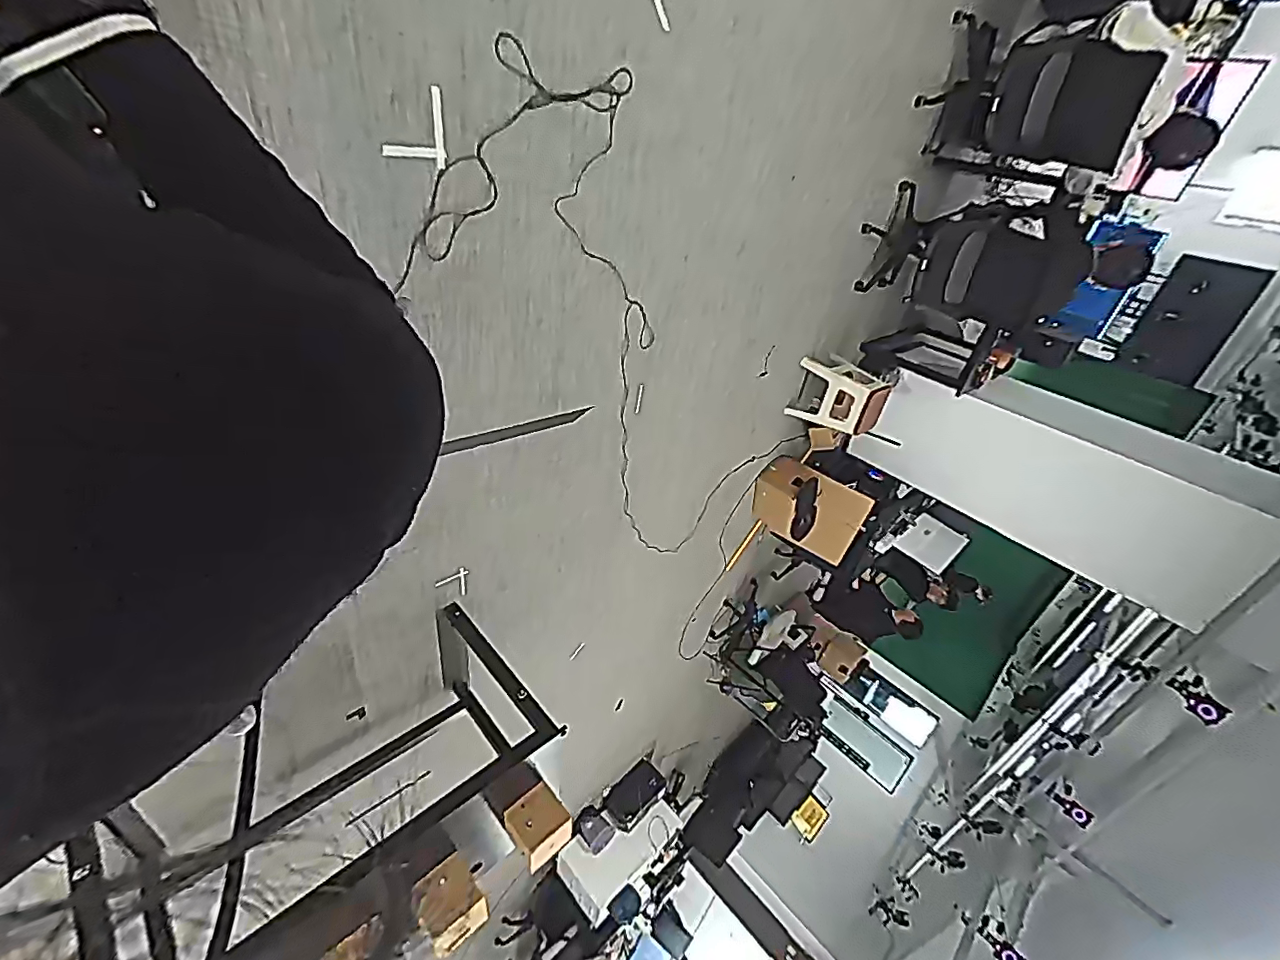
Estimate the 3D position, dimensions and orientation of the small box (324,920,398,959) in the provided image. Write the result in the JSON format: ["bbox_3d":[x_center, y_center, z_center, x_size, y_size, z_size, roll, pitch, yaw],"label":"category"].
[{"bbox_3d":[-0.775,1.383,1.497,0.179,0.176,0.168,-23,136,-41],"label":"small box"}]

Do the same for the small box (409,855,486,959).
[{"bbox_3d":[-0.591,1.310,1.666,0.168,0.176,0.179,-25,136,-39],"label":"small box"}]

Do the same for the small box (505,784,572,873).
[{"bbox_3d":[-0.353,1.194,1.868,0.168,0.176,0.179,-26,138,-36],"label":"small box"}]
